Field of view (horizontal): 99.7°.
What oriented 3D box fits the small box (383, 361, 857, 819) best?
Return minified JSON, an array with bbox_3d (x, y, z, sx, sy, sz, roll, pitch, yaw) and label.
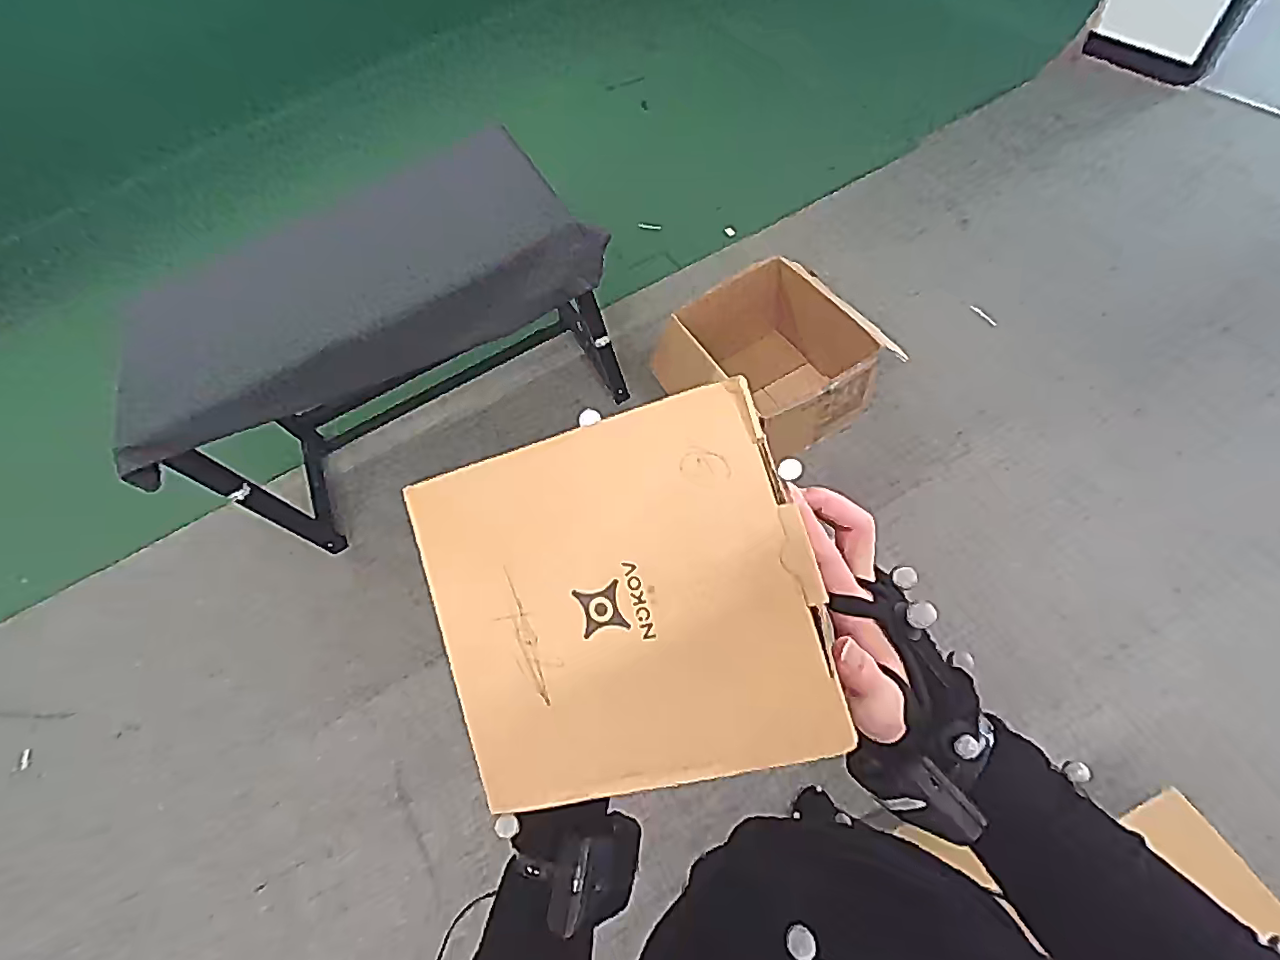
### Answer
[{"bbox_3d":[0.000,0.051,0.308,0.179,0.176,0.168,-18,86,14],"label":"small box"}]
